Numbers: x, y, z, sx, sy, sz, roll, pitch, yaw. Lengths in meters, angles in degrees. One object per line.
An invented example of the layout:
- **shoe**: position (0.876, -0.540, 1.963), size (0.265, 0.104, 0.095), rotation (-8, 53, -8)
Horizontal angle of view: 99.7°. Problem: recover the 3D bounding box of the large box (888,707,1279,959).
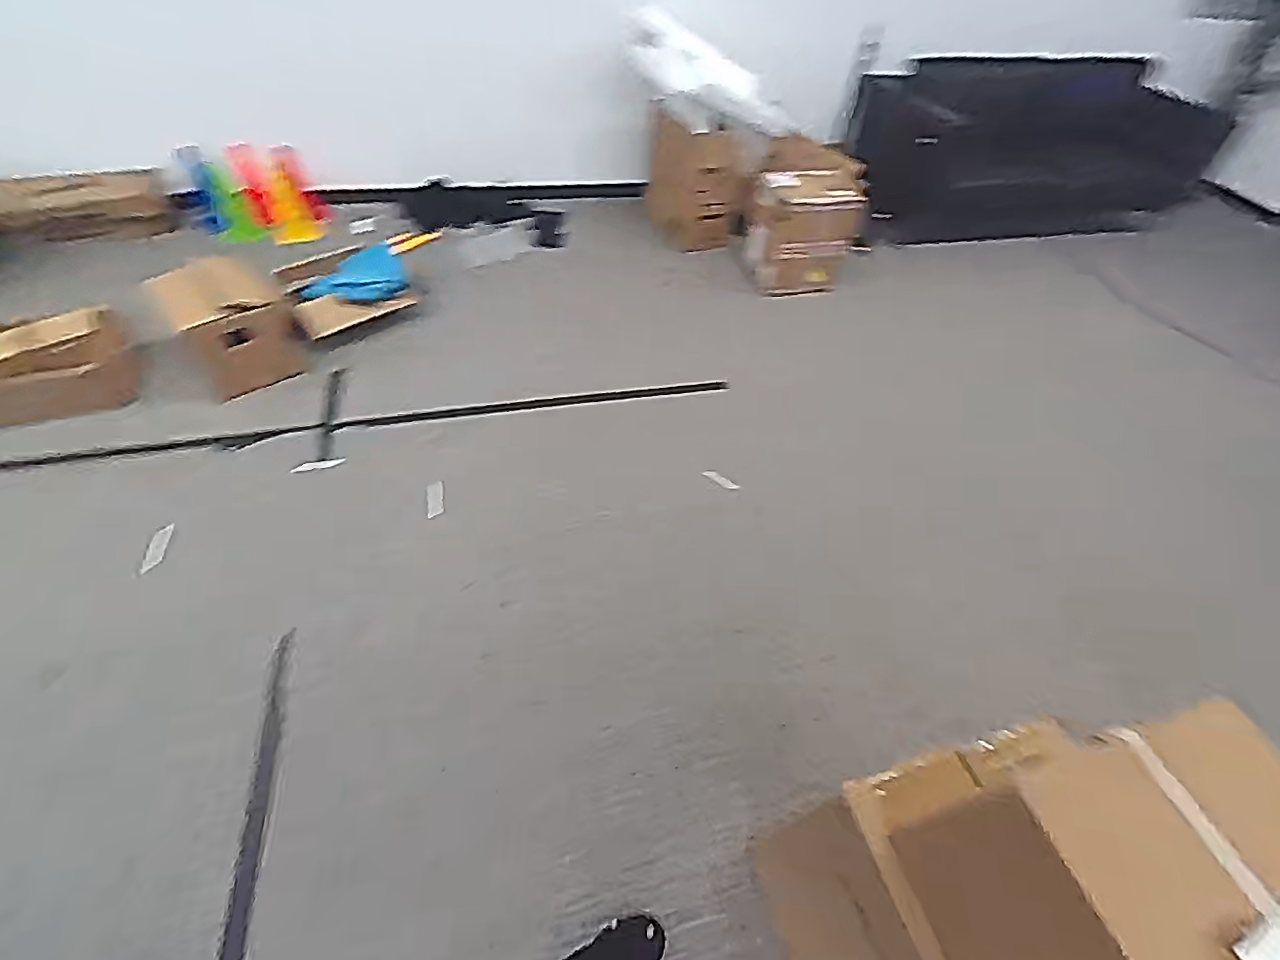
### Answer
- **large box**: position (0.564, 0.530, 0.589), size (0.320, 0.320, 0.408), rotation (-10, 52, -13)
